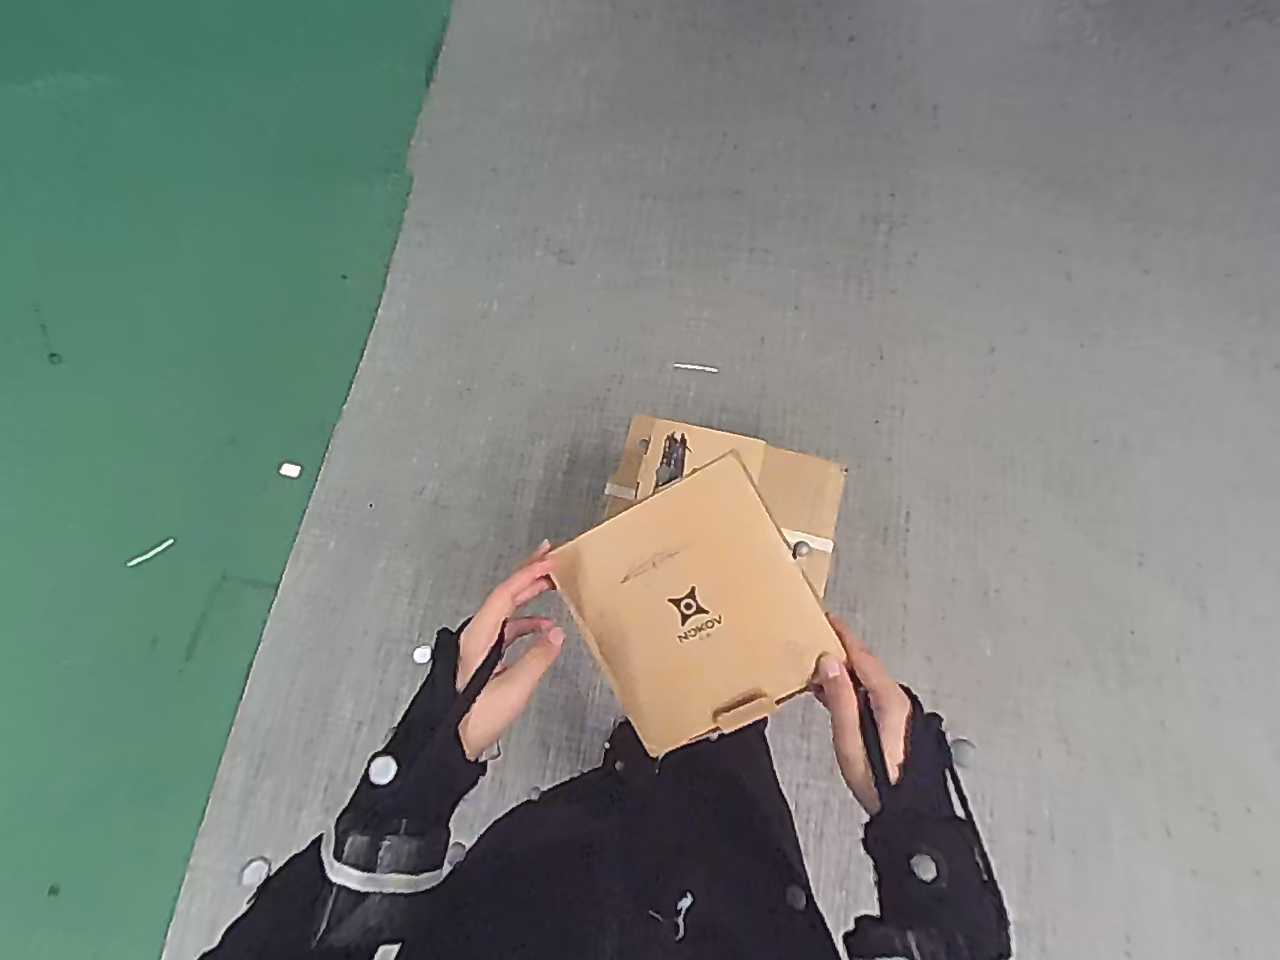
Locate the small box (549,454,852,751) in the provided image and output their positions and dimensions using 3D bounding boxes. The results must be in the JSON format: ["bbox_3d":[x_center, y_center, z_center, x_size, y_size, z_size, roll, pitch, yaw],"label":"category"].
[{"bbox_3d":[0.054,0.087,0.473,0.168,0.176,0.179,-30,87,10],"label":"small box"}]

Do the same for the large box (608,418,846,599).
[{"bbox_3d":[0.147,0.109,1.105,0.408,0.320,0.320,15,77,5],"label":"large box"}]
